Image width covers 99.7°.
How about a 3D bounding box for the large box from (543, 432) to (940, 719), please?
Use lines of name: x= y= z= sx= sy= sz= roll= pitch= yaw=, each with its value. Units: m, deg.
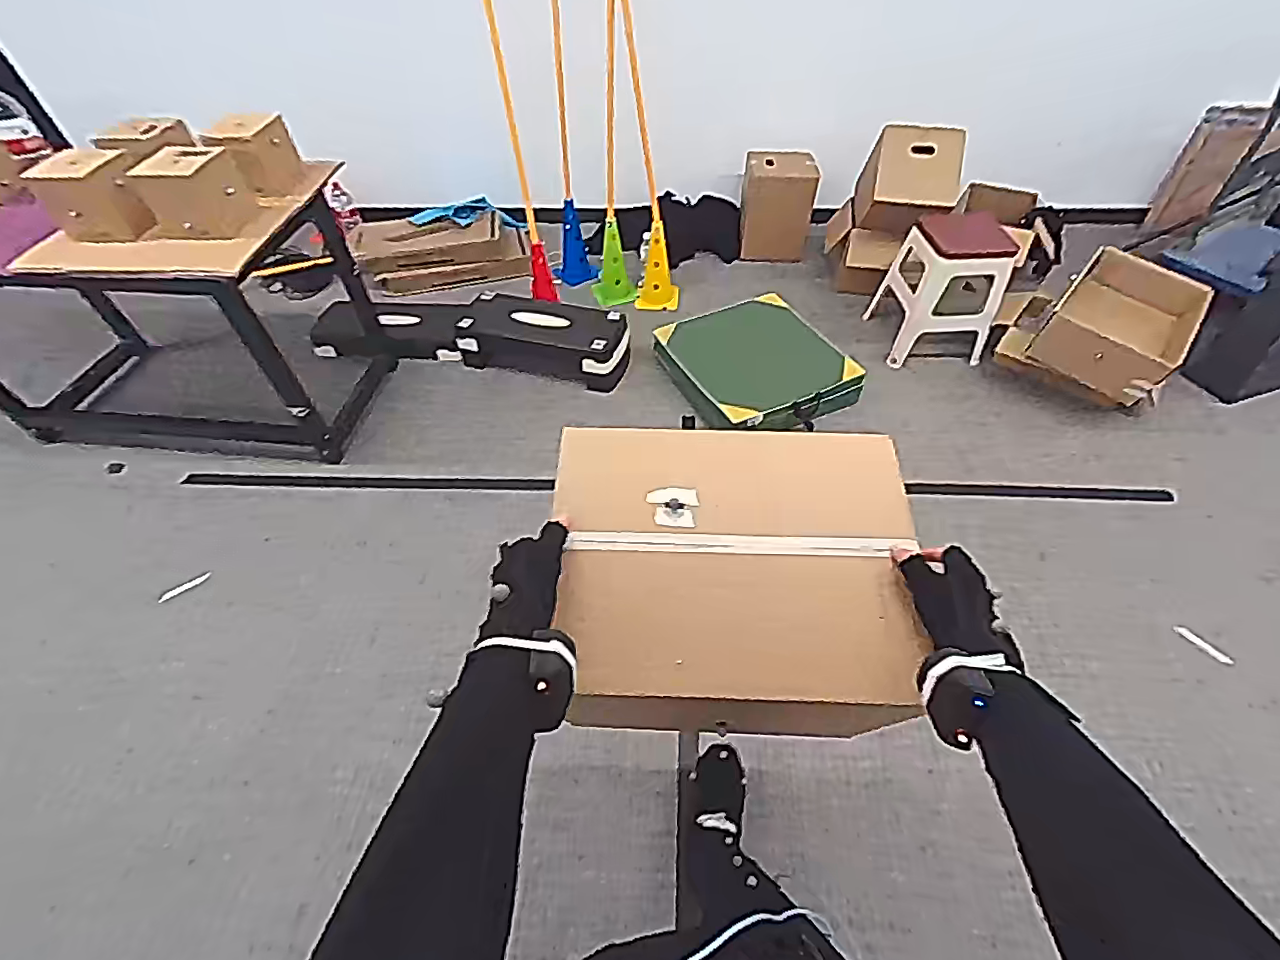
large box: x=0.107 y=0.147 z=0.739 sx=0.408 sy=0.320 sz=0.320 roll=1 pitch=59 yaw=2
